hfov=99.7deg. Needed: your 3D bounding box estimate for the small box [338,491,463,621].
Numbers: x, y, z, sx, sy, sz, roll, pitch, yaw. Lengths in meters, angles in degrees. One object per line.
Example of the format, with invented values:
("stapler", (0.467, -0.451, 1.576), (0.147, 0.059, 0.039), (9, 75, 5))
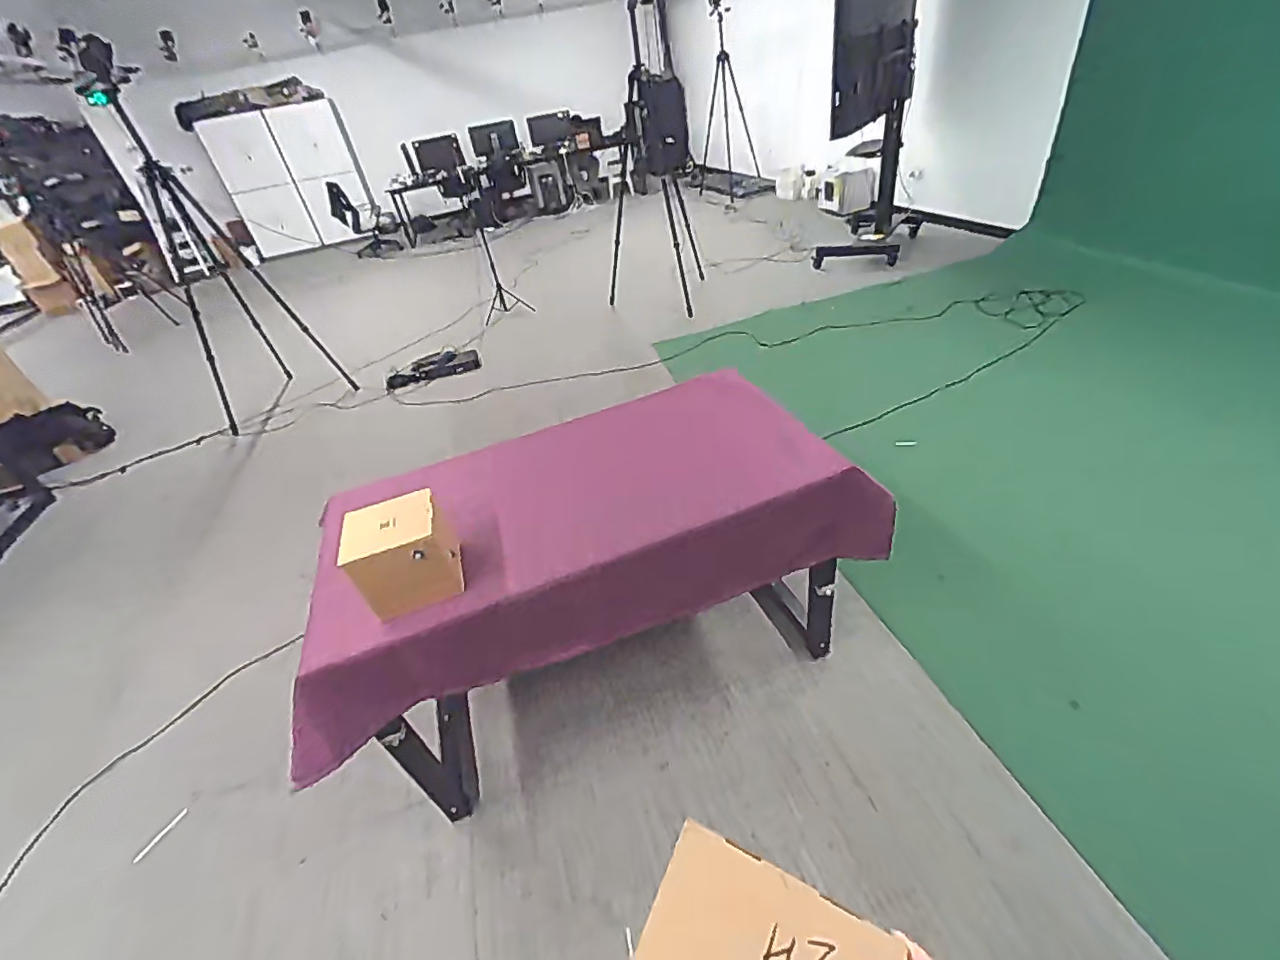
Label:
("small box", (-0.477, 0.155, 1.095), (0.179, 0.176, 0.168), (-18, 37, -11))
